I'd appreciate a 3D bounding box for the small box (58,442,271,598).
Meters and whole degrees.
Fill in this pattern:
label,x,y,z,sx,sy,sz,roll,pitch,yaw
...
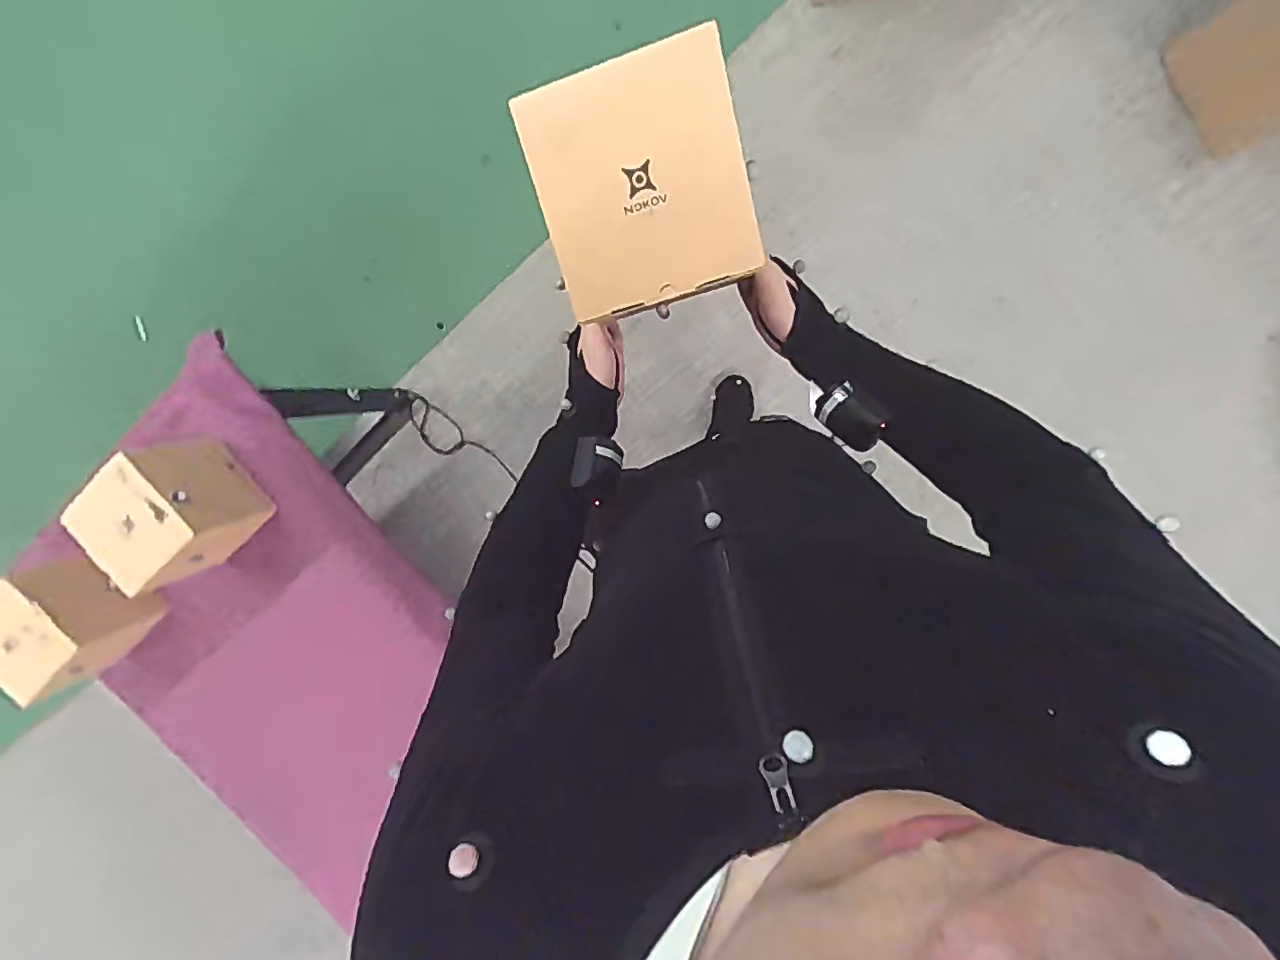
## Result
label,x,y,z,sx,sy,sz,roll,pitch,yaw
small box,-0.772,0.058,0.897,0.179,0.176,0.168,-38,95,13

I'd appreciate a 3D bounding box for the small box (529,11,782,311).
label,x,y,z,sx,sy,sz,roll,pitch,yaw
small box,0.019,-0.263,0.496,0.168,0.176,0.179,-14,107,9

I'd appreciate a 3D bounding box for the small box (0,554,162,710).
label,x,y,z,sx,sy,sz,roll,pitch,yaw
small box,-1.016,0.256,0.954,0.179,0.176,0.168,-41,96,10
